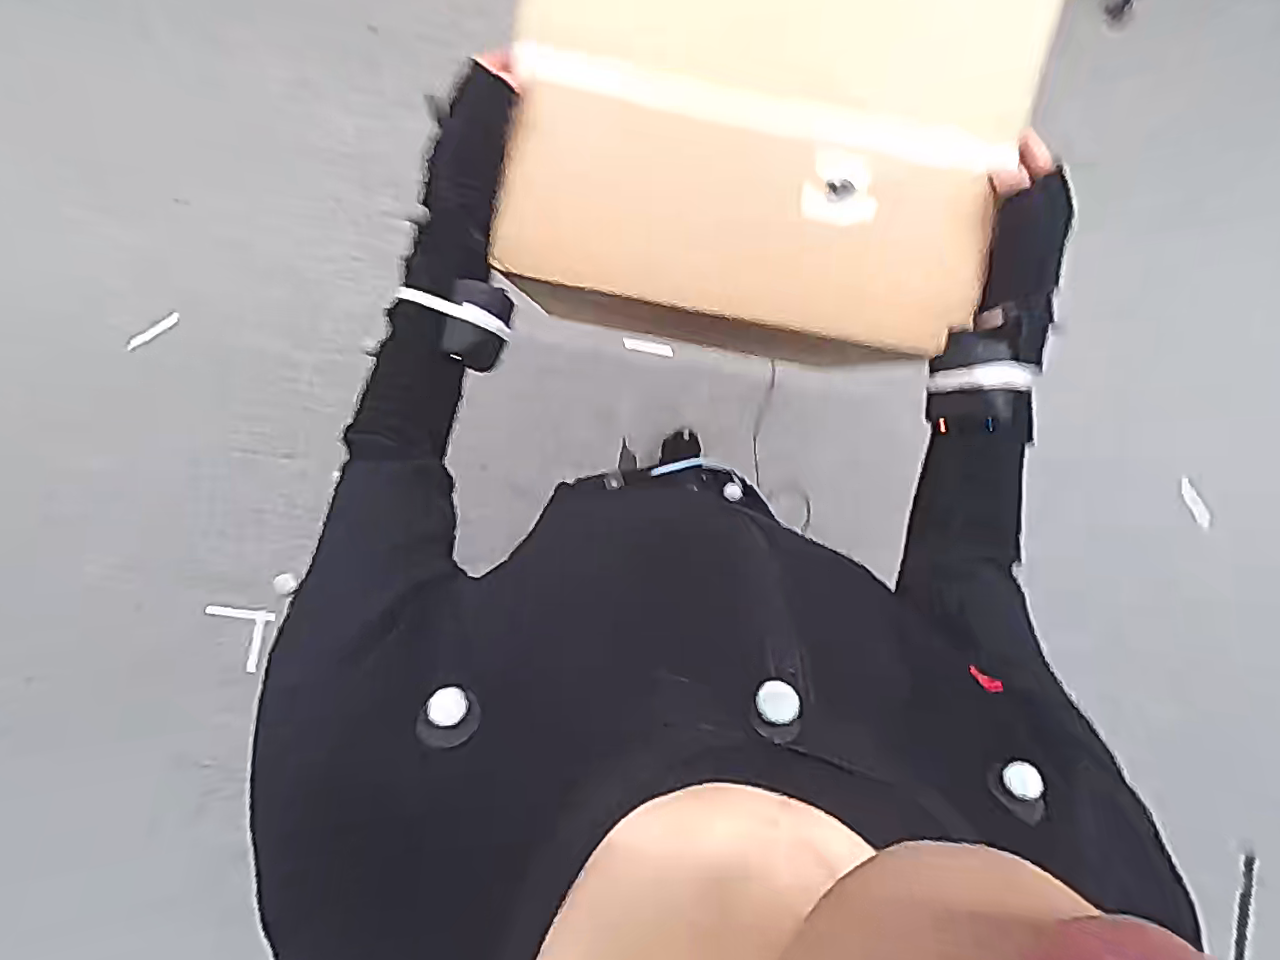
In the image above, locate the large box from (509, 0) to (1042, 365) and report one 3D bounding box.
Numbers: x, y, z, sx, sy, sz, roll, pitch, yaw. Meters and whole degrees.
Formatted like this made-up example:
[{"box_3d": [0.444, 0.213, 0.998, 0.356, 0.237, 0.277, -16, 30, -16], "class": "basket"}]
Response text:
[{"box_3d": [0.101, -0.319, 0.591, 0.408, 0.320, 0.320, 10, 100, -4], "class": "large box"}]
